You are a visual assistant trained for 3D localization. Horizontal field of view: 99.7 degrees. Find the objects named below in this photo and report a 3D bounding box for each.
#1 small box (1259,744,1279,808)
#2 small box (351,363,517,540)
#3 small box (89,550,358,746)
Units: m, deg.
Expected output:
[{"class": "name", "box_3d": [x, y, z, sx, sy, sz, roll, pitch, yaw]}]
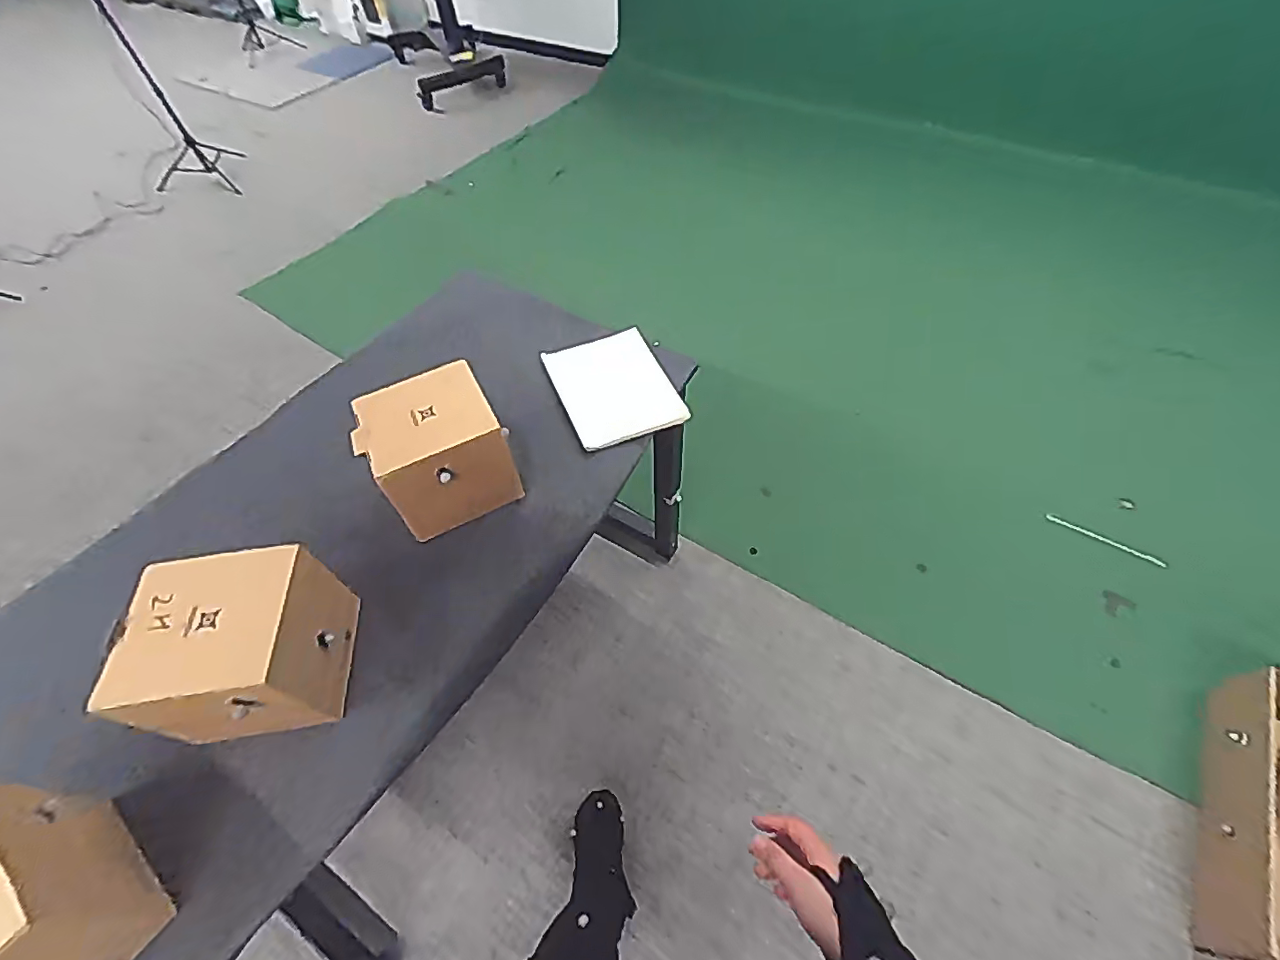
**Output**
[{"class": "small box", "box_3d": [1.473, 0.651, 1.113, 0.168, 0.176, 0.179, -37, 62, -21]}, {"class": "small box", "box_3d": [-0.299, -0.040, 0.821, 0.179, 0.176, 0.168, -25, 57, -15]}, {"class": "small box", "box_3d": [-0.469, 0.205, 0.649, 0.179, 0.176, 0.168, -8, 54, -4]}]
